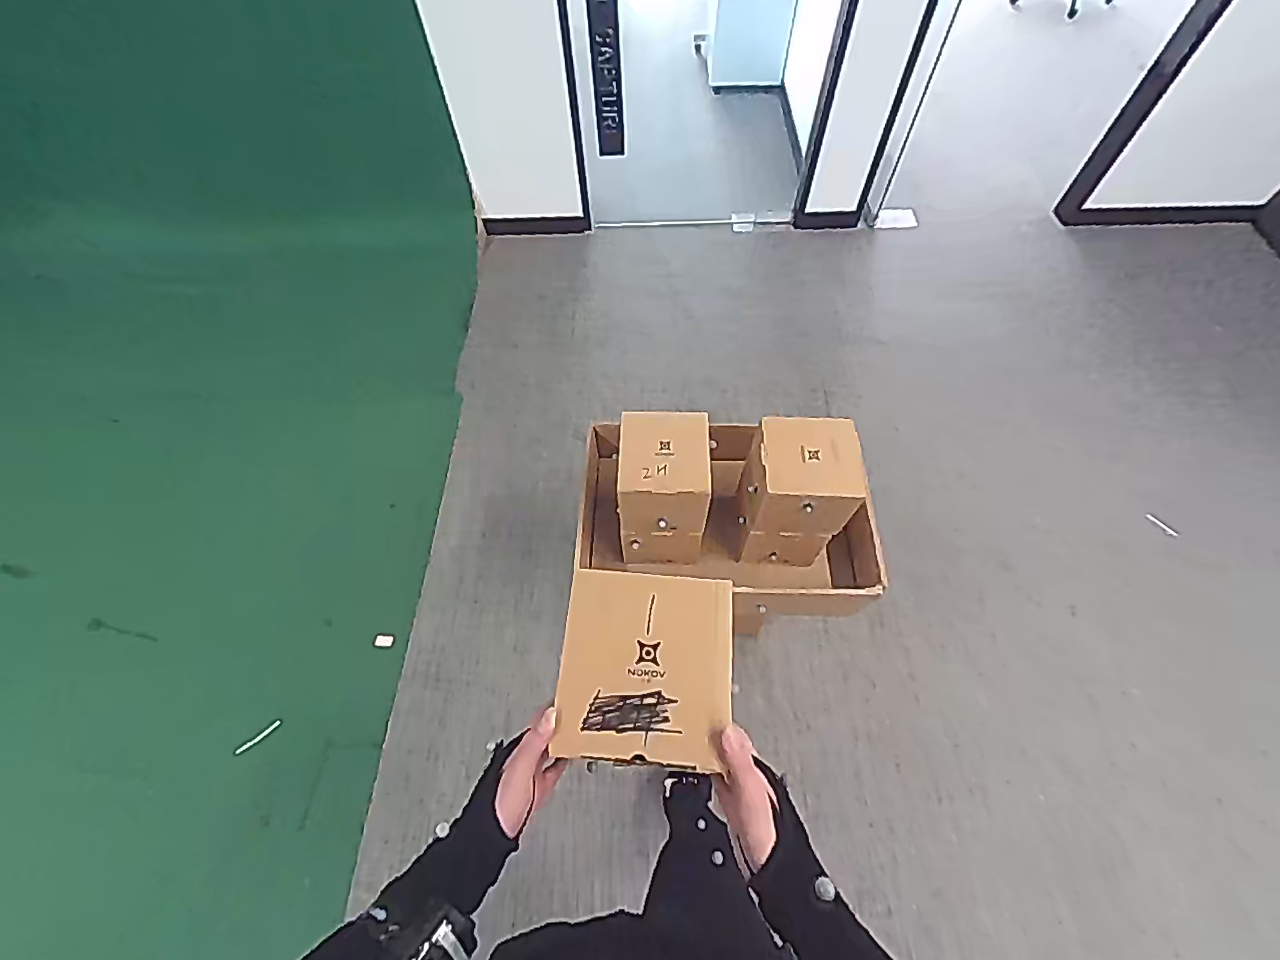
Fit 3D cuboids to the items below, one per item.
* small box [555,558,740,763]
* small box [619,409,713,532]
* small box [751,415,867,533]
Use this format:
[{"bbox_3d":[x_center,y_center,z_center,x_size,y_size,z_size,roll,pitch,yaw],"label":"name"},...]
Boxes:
[{"bbox_3d":[0.012,0.200,0.584,0.168,0.176,0.179,5,62,1],"label":"small box"},{"bbox_3d":[0.048,-0.017,1.040,0.168,0.176,0.179,1,60,2],"label":"small box"},{"bbox_3d":[0.310,-0.007,1.036,0.179,0.176,0.168,3,62,1],"label":"small box"}]
